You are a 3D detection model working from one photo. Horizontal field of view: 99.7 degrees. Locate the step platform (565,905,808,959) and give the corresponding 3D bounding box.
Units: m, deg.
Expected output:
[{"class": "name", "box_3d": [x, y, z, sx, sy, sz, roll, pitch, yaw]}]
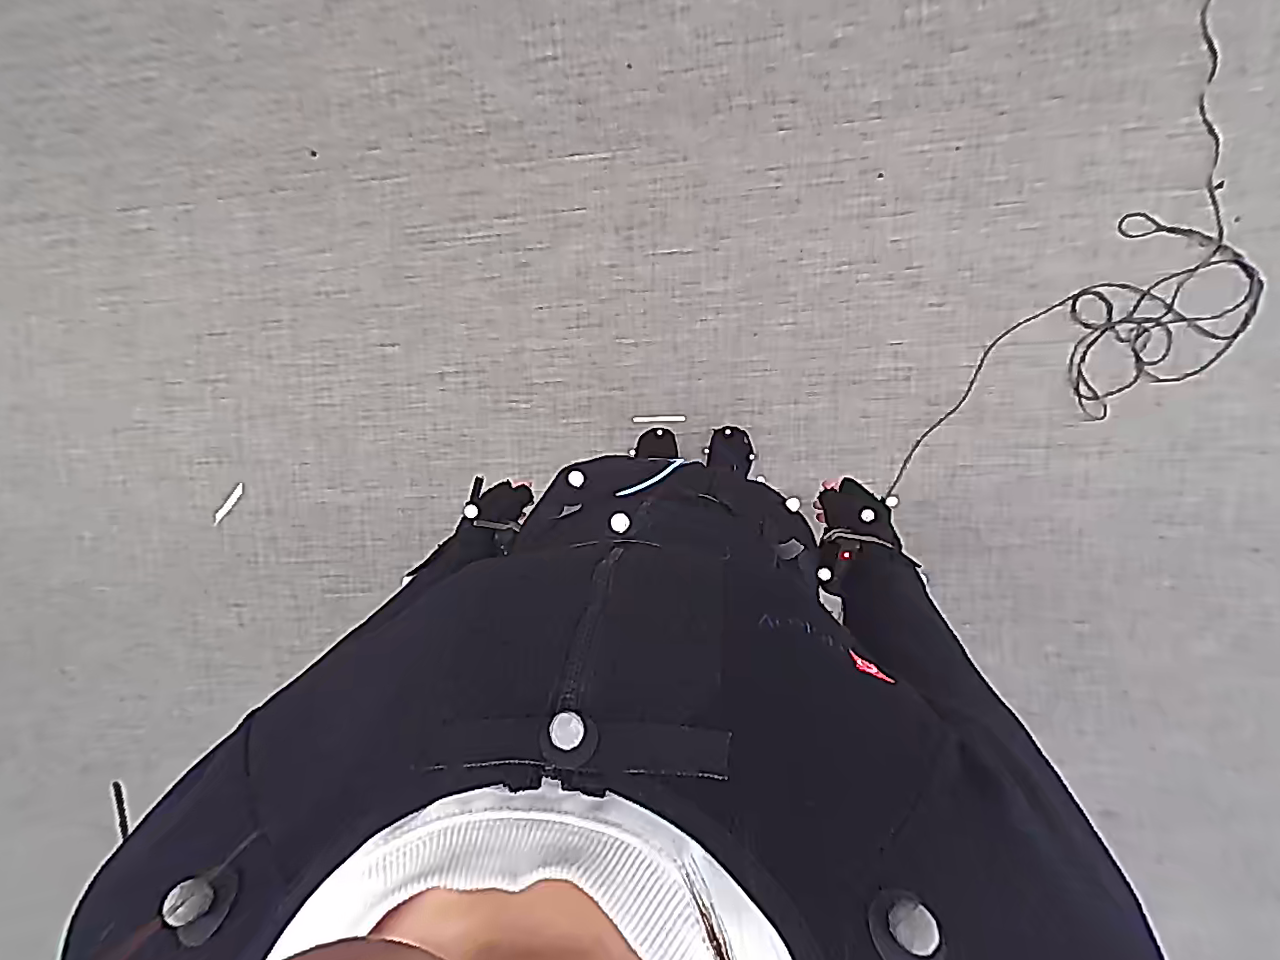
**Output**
[{"class": "step platform", "box_3d": [0.126, 1.406, 1.497, 0.684, 0.204, 0.286, -3, 95, 9]}]
